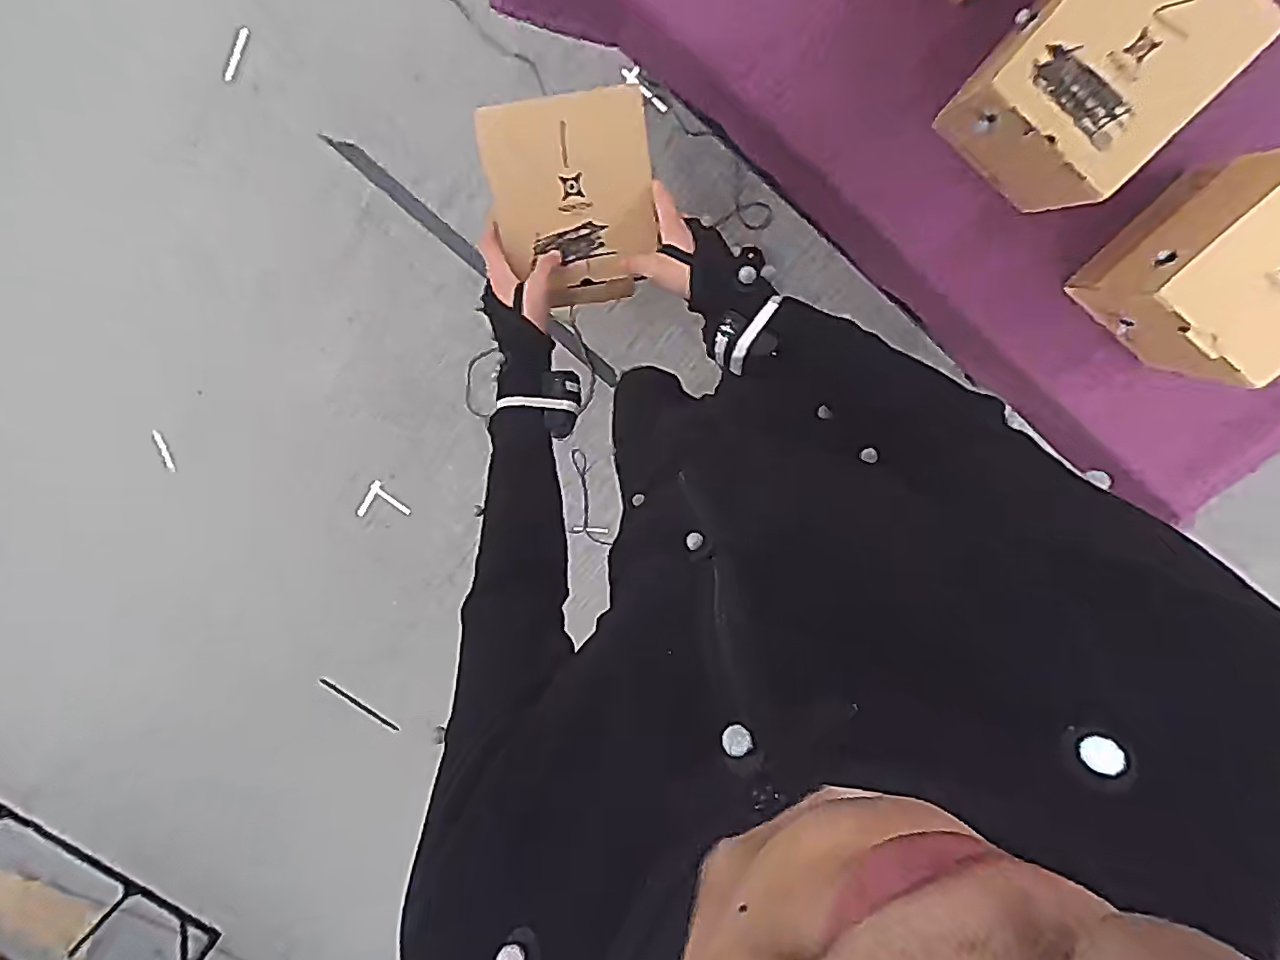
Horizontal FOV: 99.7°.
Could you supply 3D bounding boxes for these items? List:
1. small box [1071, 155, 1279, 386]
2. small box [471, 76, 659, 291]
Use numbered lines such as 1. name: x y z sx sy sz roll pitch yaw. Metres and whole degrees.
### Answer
1. small box: 0.656 -0.239 0.610 0.168 0.176 0.179 37 113 -7
2. small box: -0.072 -0.324 0.617 0.168 0.176 0.179 -8 113 1
